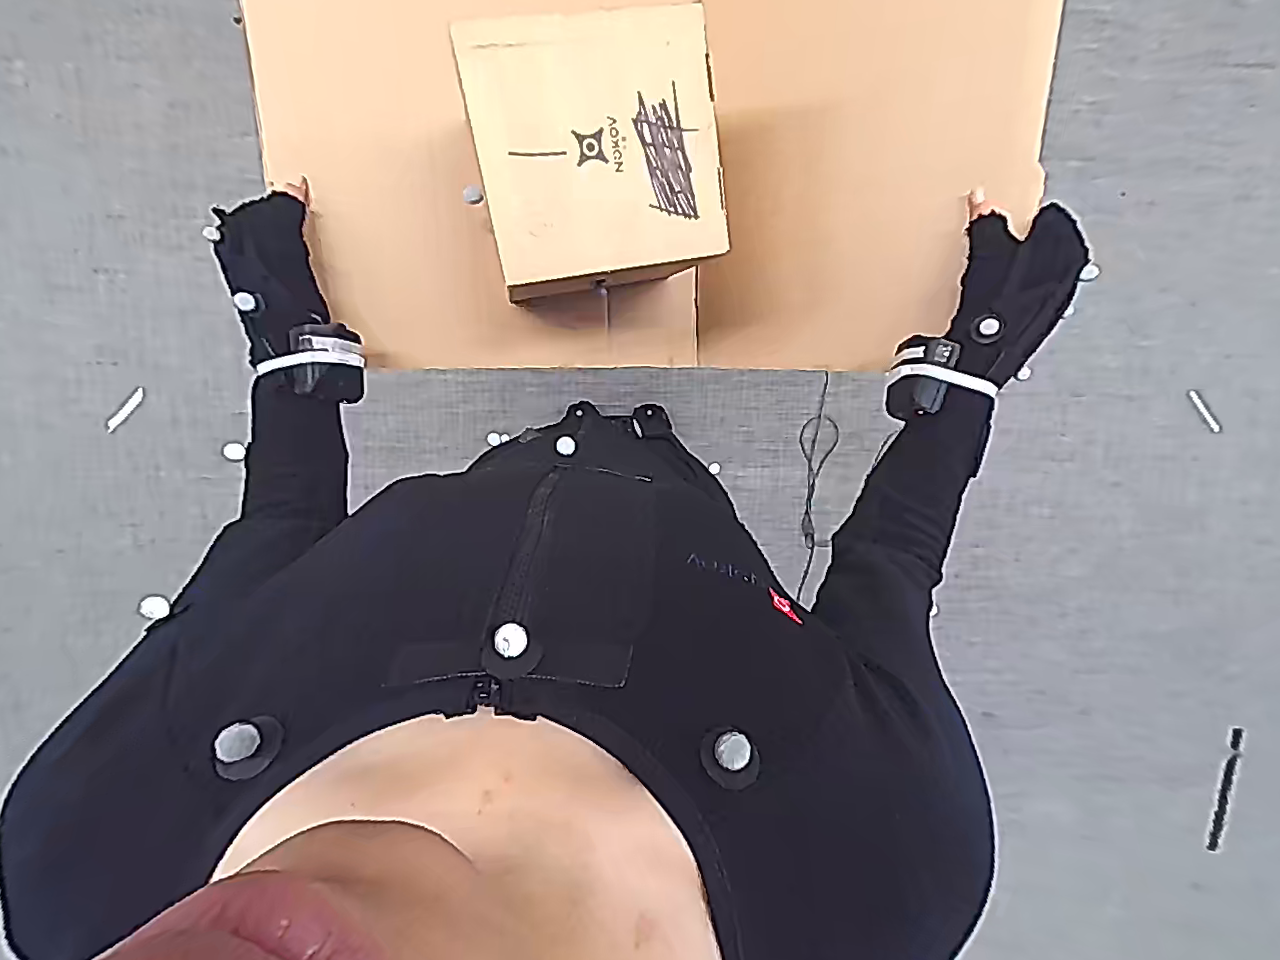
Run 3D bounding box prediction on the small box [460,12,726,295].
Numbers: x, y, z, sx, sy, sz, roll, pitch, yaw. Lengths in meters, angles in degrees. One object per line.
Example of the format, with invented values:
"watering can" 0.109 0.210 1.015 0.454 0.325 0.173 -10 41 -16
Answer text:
"small box" -0.043 -0.260 0.469 0.179 0.176 0.168 -12 107 -9
